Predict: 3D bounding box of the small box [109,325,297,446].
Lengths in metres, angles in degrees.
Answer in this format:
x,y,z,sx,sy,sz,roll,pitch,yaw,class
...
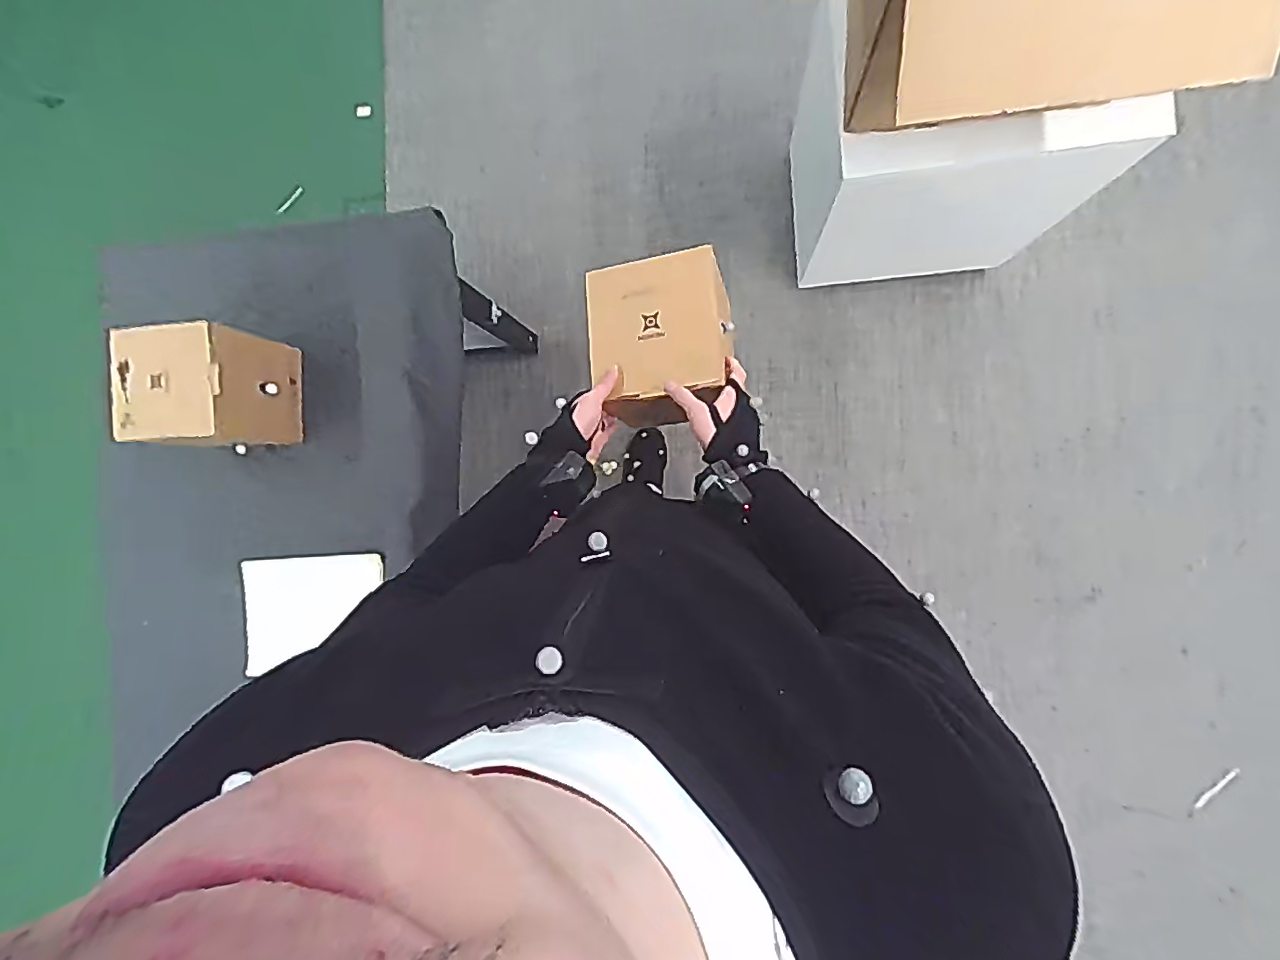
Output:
x,y,z,sx,sy,sz,roll,pitch,yaw,class
-0.682,-0.142,0.865,0.179,0.176,0.168,-2,90,7,small box

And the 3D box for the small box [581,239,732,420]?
x,y,z,sx,sy,sz,roll,pitch,yaw,class
0.029,-0.185,0.728,0.168,0.176,0.179,-6,80,14,small box
